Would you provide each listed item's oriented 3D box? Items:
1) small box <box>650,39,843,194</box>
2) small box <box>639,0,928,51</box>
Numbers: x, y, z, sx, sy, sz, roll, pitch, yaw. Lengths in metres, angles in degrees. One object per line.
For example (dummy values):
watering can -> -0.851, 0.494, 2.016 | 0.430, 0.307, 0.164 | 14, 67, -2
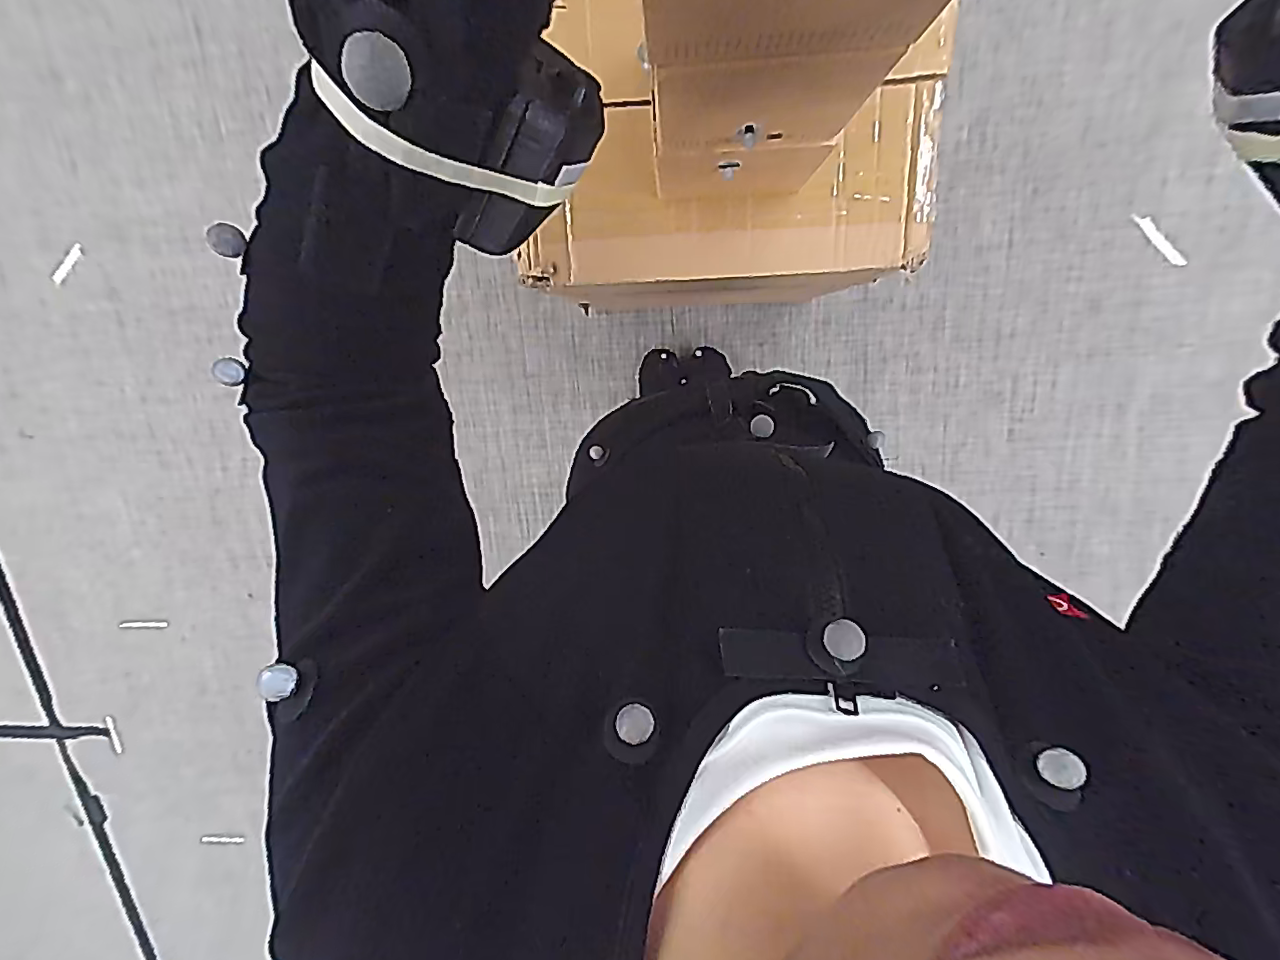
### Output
small box -> 0.102, -0.412, 0.569 | 0.179, 0.176, 0.168 | -1, 105, 4
small box -> 0.082, -0.336, 0.249 | 0.179, 0.176, 0.168 | -1, 105, 4
